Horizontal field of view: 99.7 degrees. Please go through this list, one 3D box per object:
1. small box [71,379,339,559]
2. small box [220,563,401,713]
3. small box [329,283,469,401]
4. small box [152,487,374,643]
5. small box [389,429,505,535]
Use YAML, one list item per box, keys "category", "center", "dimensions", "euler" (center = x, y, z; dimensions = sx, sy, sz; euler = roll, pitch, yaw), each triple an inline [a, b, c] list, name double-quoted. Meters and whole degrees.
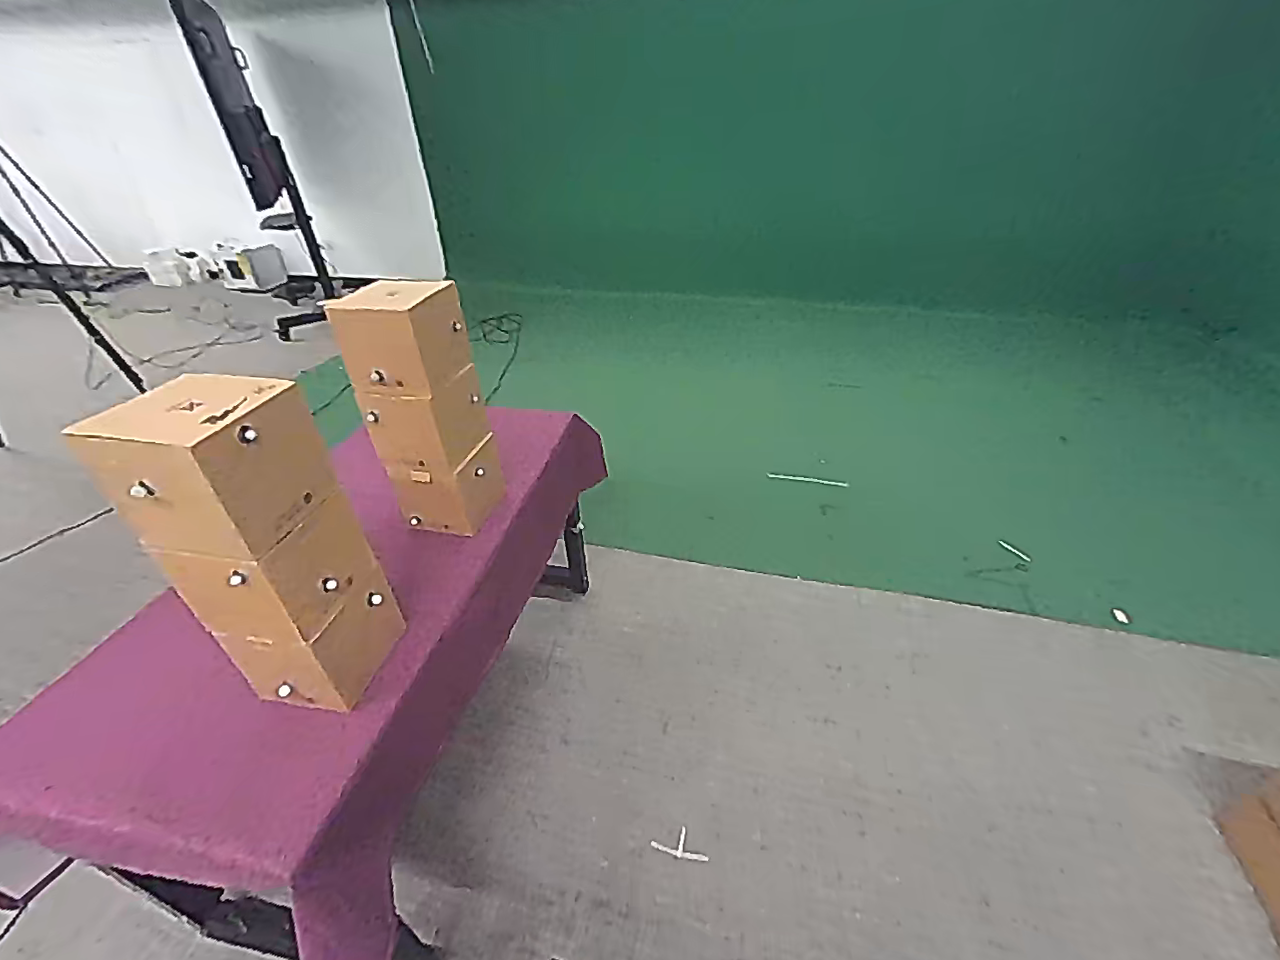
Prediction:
- category: "small box"
  center: [-0.539, -0.017, 0.699]
  dimensions: [0.179, 0.176, 0.168]
  euler: [5, 36, 11]
- category: "small box"
  center: [-0.522, 0.248, 0.891]
  dimensions: [0.168, 0.176, 0.179]
  euler: [4, 36, 11]
- category: "small box"
  center: [-0.449, -0.270, 1.045]
  dimensions: [0.168, 0.176, 0.179]
  euler: [5, 36, 11]
- category: "small box"
  center: [-0.534, 0.117, 0.795]
  dimensions: [0.179, 0.176, 0.168]
  euler: [6, 36, 10]
- category: "small box"
  center: [-0.423, 0.004, 1.224]
  dimensions: [0.168, 0.176, 0.179]
  euler: [7, 36, 12]
